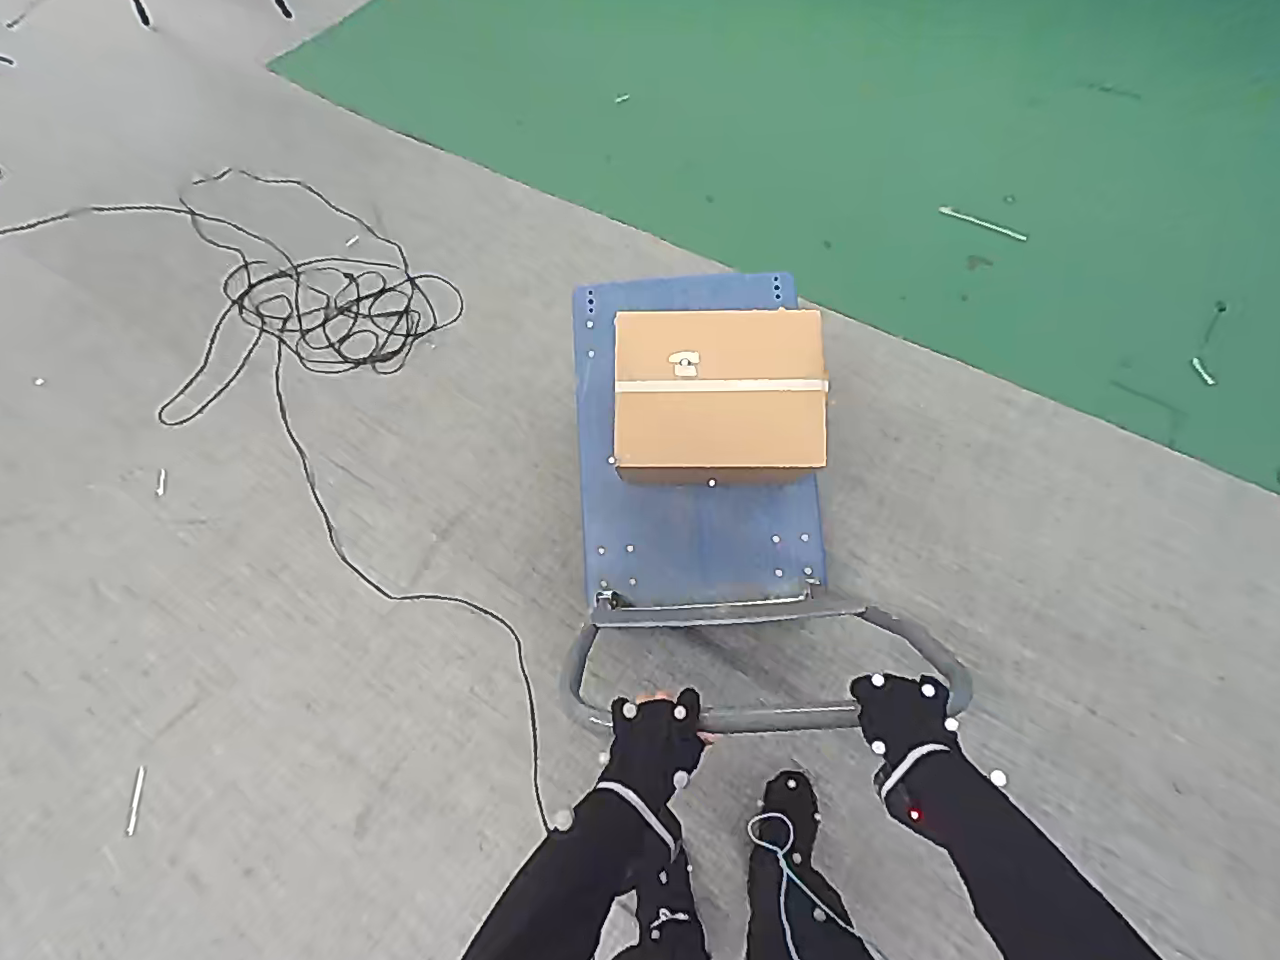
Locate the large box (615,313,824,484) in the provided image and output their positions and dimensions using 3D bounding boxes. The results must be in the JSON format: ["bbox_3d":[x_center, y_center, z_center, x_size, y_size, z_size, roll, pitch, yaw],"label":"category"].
[{"bbox_3d":[0.160,-0.156,1.194,0.408,0.320,0.320,0,83,3],"label":"large box"}]
